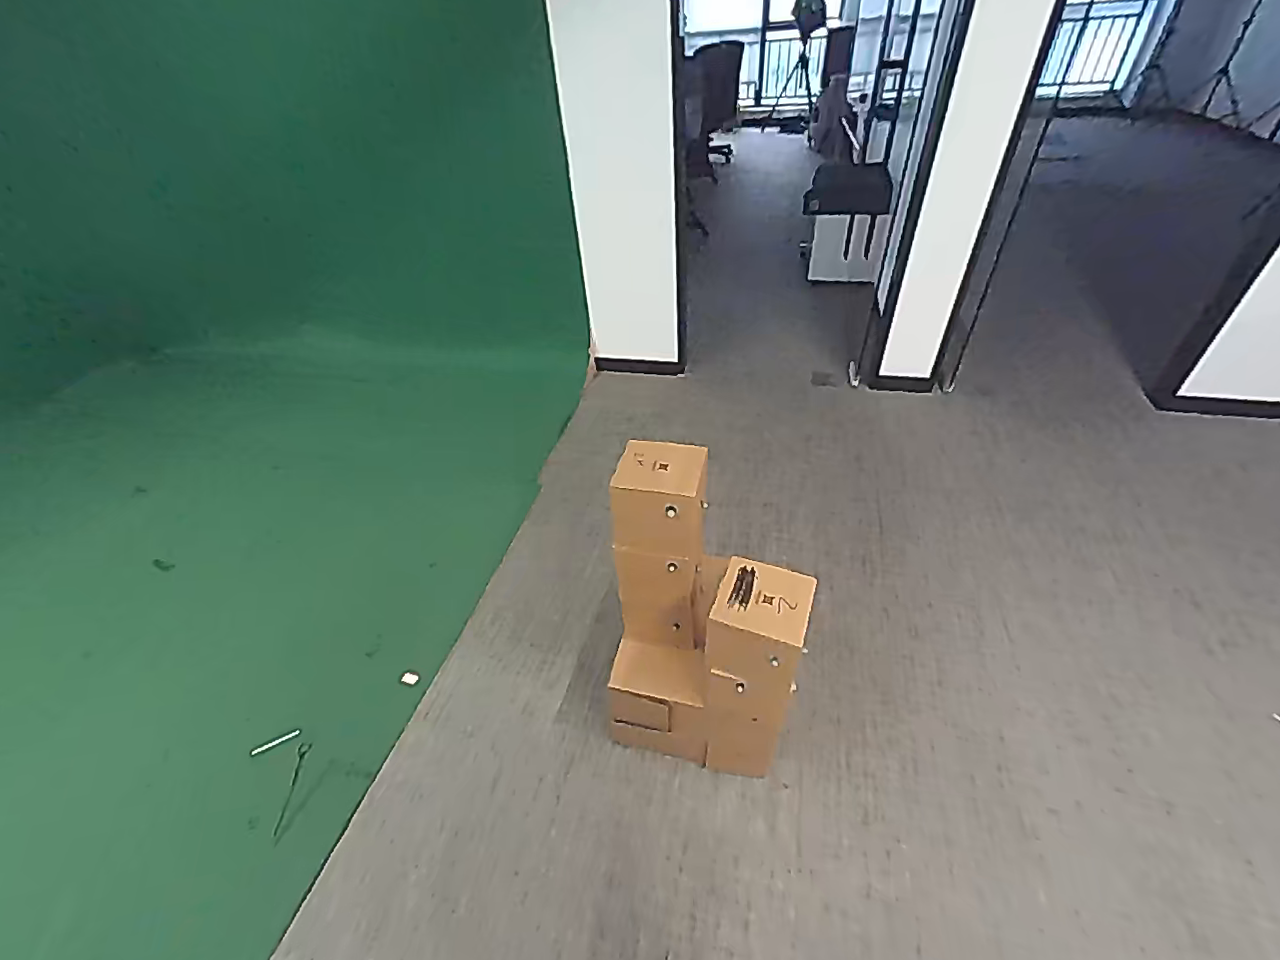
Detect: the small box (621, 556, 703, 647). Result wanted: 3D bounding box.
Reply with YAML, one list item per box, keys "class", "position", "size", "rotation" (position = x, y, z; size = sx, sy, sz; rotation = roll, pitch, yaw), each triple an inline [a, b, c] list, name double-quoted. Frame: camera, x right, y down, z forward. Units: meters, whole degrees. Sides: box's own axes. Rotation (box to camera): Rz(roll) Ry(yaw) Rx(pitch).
- class: "small box"
  position: [0.061, 0.295, 1.351]
  size: [0.179, 0.176, 0.168]
  rotation: [5, 40, 12]

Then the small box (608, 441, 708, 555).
- class: "small box"
  position: [0.045, 0.039, 1.148]
  size: [0.179, 0.176, 0.168]
  rotation: [7, 39, 13]

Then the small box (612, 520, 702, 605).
- class: "small box"
  position: [0.044, 0.168, 1.251]
  size: [0.179, 0.176, 0.168]
  rotation: [7, 40, 11]

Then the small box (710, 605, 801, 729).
- class: "small box"
  position: [0.251, 0.411, 1.193]
  size: [0.168, 0.176, 0.179]
  rotation: [10, 42, 16]
